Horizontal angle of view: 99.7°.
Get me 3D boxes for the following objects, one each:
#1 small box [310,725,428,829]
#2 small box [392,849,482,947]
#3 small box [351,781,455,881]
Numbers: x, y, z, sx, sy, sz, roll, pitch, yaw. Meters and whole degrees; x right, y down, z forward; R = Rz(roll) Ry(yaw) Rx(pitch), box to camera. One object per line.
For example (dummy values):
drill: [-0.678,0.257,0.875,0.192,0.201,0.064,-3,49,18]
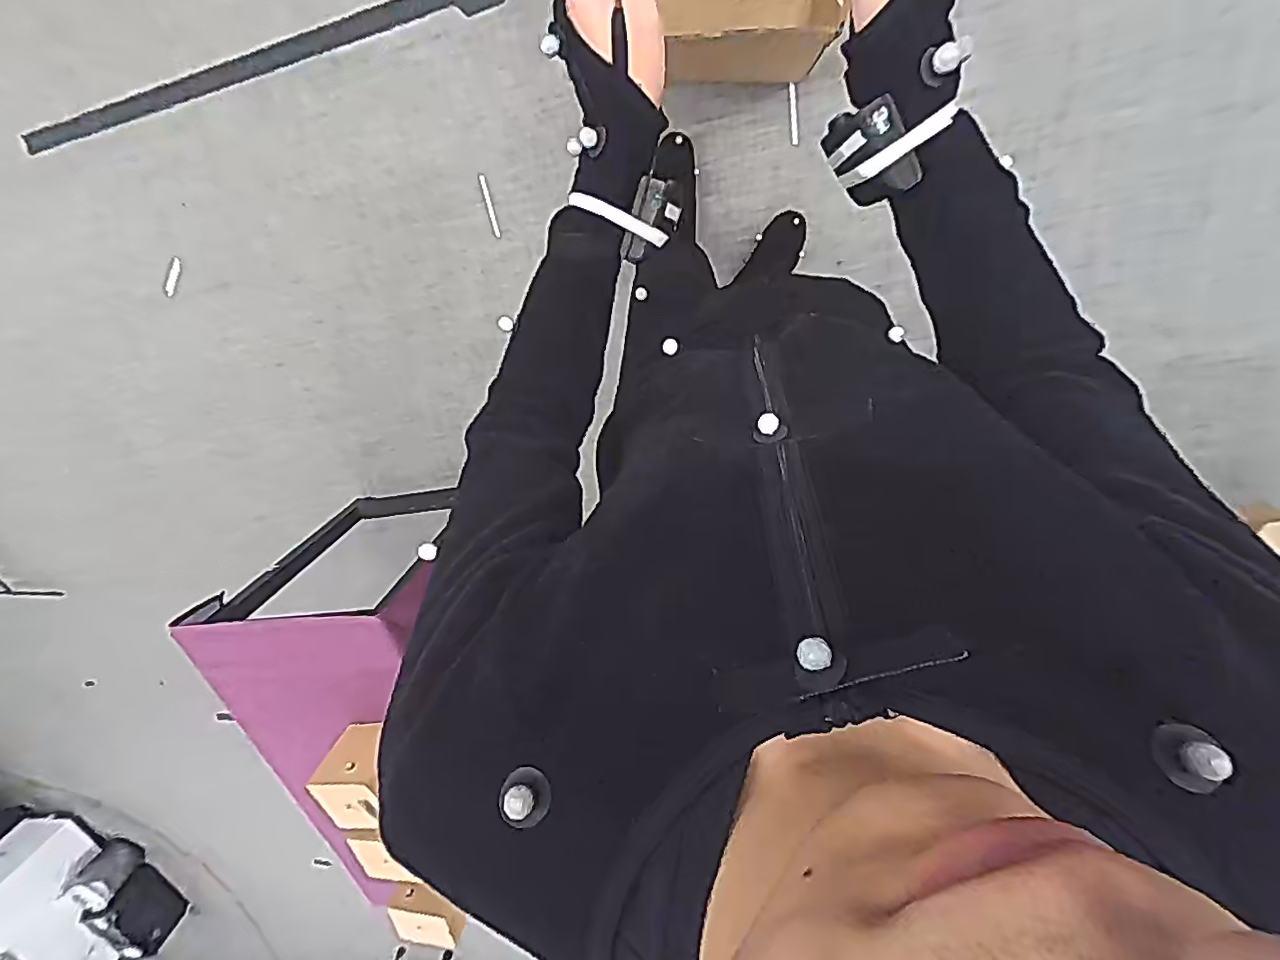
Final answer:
small box: [-0.655,0.730,1.338,0.179,0.176,0.168,-10,115,15]
small box: [-0.584,1.207,1.576,0.179,0.176,0.168,2,118,8]
small box: [-0.615,0.924,1.436,0.179,0.176,0.168,-3,116,11]
